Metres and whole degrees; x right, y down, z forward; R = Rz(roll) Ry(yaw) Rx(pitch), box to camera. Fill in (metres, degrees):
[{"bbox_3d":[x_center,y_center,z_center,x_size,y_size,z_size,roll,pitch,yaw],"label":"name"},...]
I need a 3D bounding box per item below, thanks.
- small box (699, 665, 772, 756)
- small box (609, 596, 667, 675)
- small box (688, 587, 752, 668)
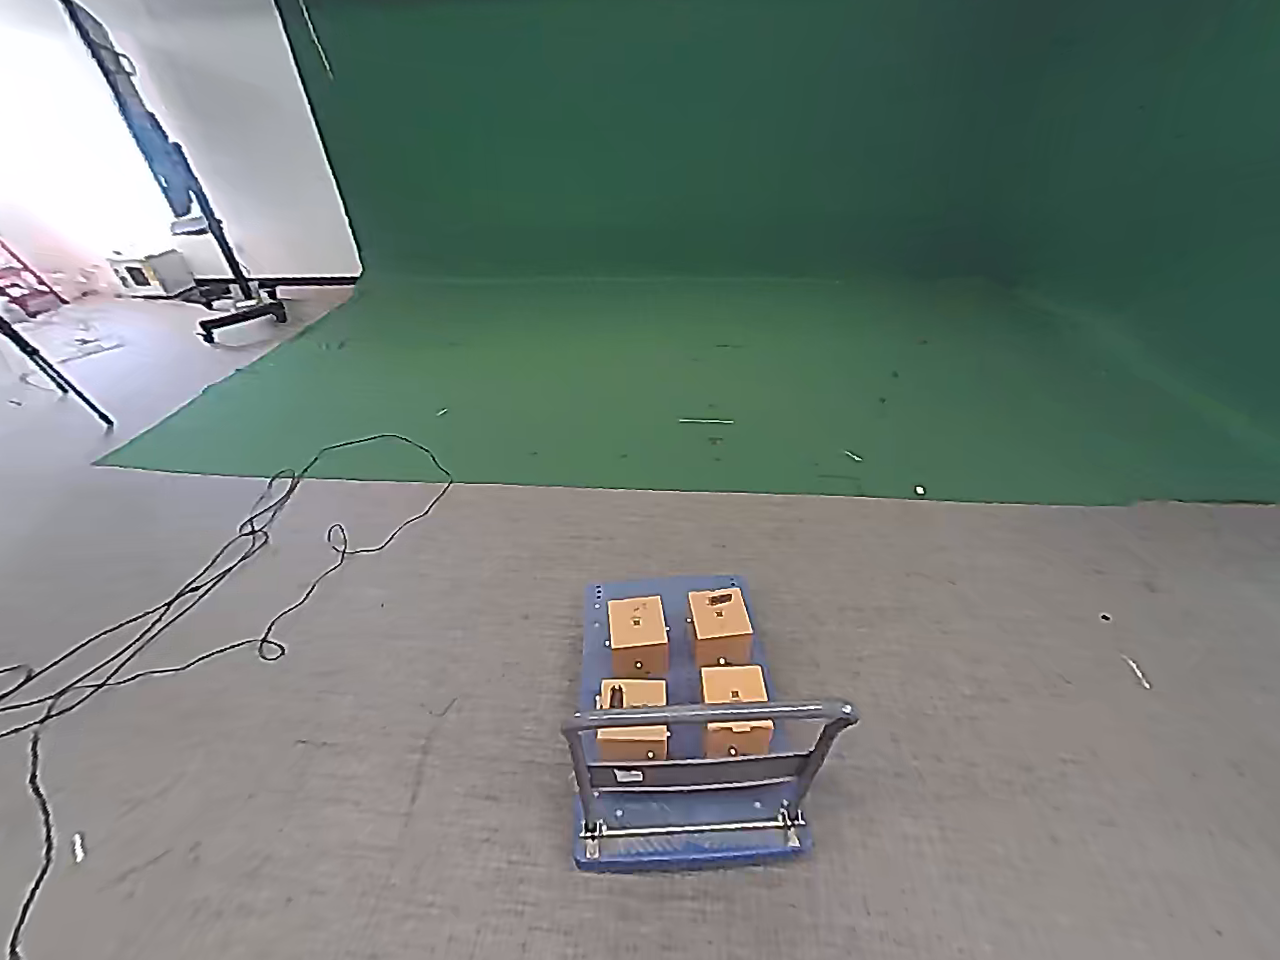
[{"bbox_3d":[0.255,0.632,1.487,0.168,0.176,0.179,-2,39,0],"label":"small box"},{"bbox_3d":[-0.007,0.488,1.682,0.168,0.176,0.179,-5,38,-4],"label":"small box"},{"bbox_3d":[0.243,0.464,1.698,0.168,0.176,0.179,-6,39,-3],"label":"small box"}]
